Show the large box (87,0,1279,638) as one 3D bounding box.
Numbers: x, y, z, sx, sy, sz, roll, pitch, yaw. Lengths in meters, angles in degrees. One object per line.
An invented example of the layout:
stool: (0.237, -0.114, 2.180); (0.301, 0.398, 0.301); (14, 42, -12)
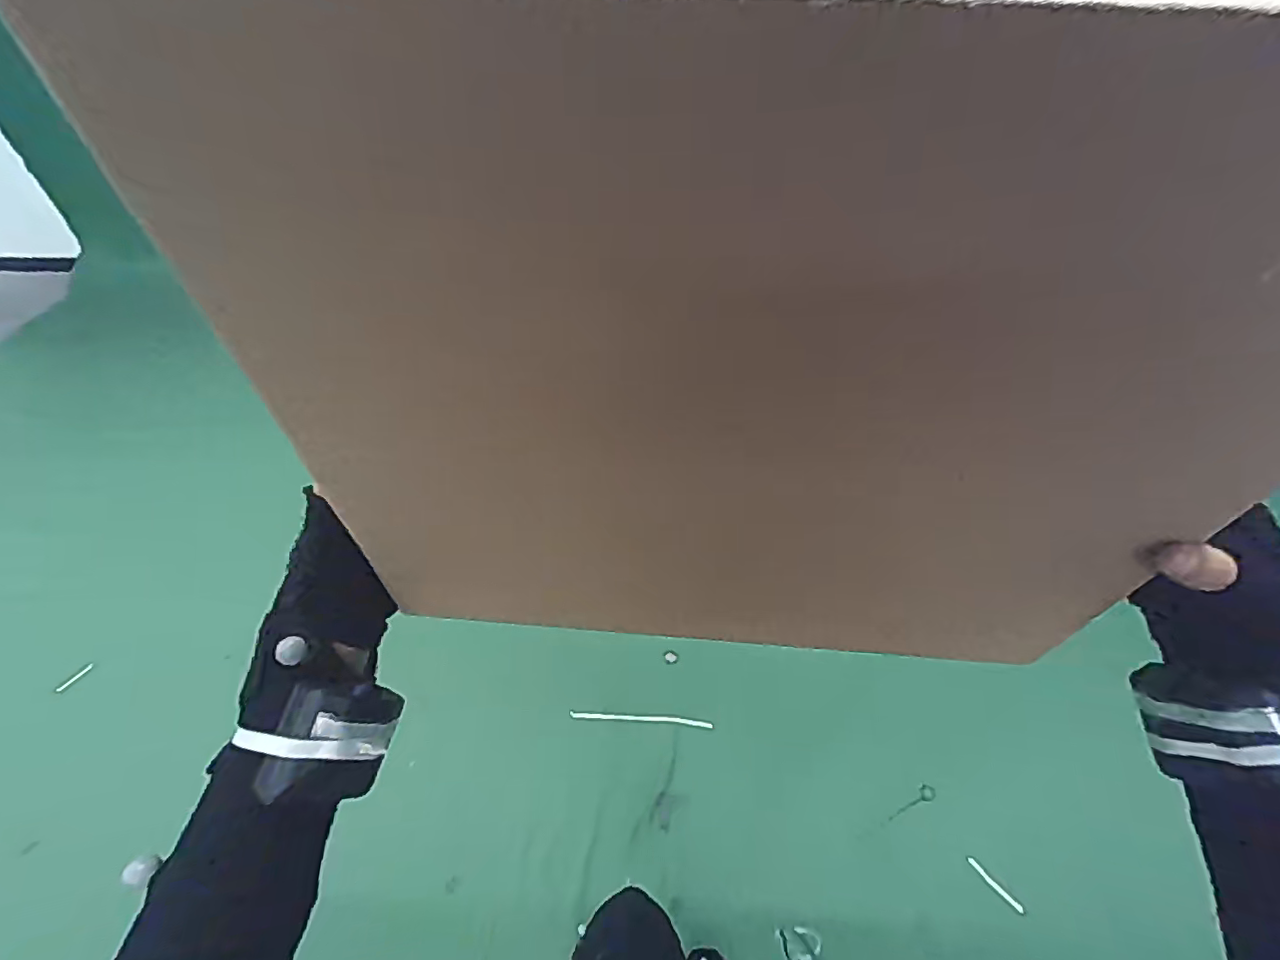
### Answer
large box: (0.059, -0.117, 0.342); (0.408, 0.320, 0.320); (4, 50, 1)
